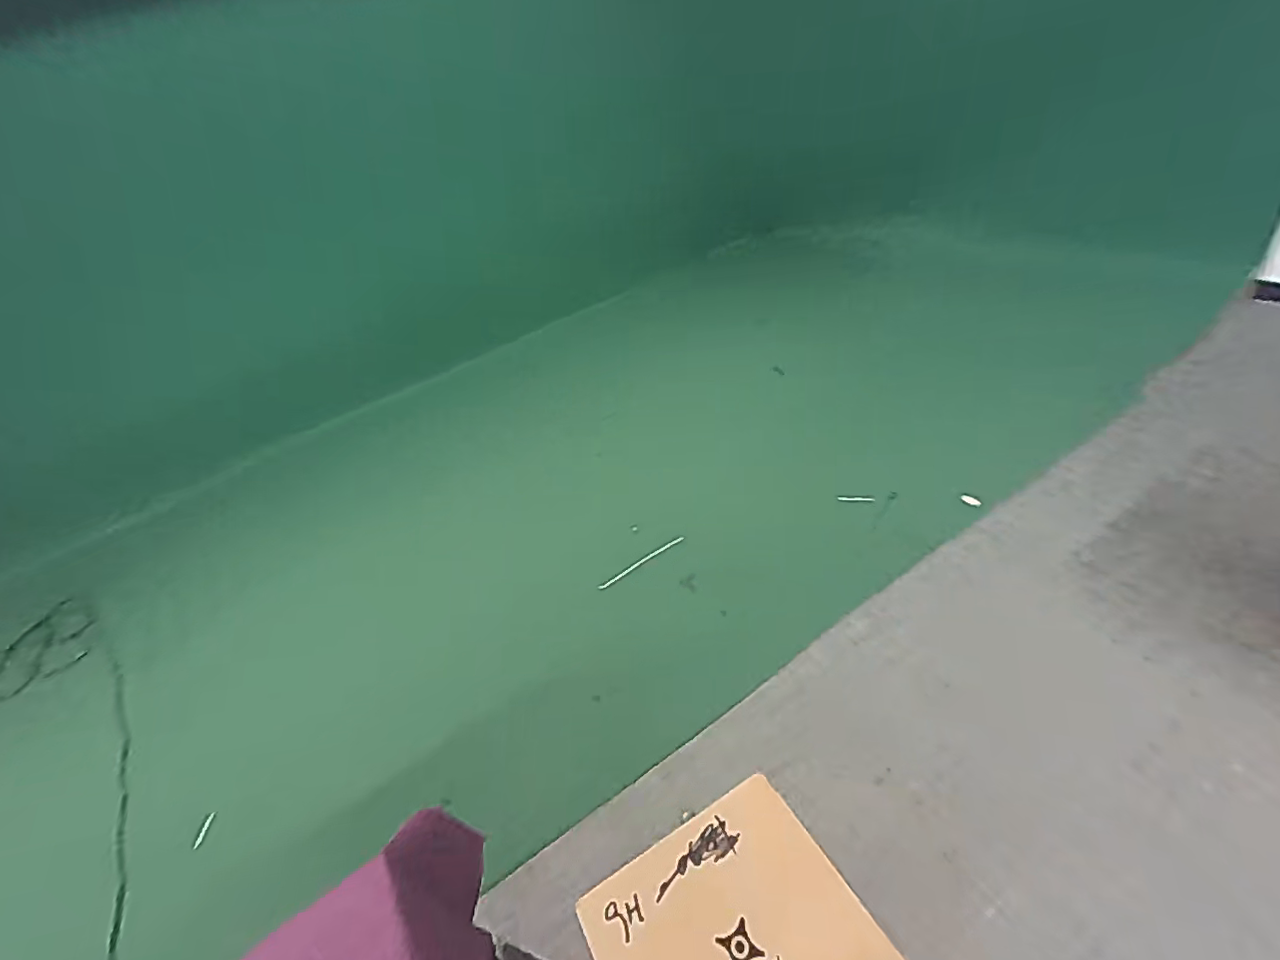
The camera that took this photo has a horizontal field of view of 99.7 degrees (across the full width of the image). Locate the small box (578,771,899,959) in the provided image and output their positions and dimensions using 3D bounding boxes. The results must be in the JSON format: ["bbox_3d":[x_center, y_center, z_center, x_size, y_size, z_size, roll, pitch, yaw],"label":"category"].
[{"bbox_3d":[0.077,0.362,0.390,0.168,0.176,0.179,-24,41,-18],"label":"small box"}]
